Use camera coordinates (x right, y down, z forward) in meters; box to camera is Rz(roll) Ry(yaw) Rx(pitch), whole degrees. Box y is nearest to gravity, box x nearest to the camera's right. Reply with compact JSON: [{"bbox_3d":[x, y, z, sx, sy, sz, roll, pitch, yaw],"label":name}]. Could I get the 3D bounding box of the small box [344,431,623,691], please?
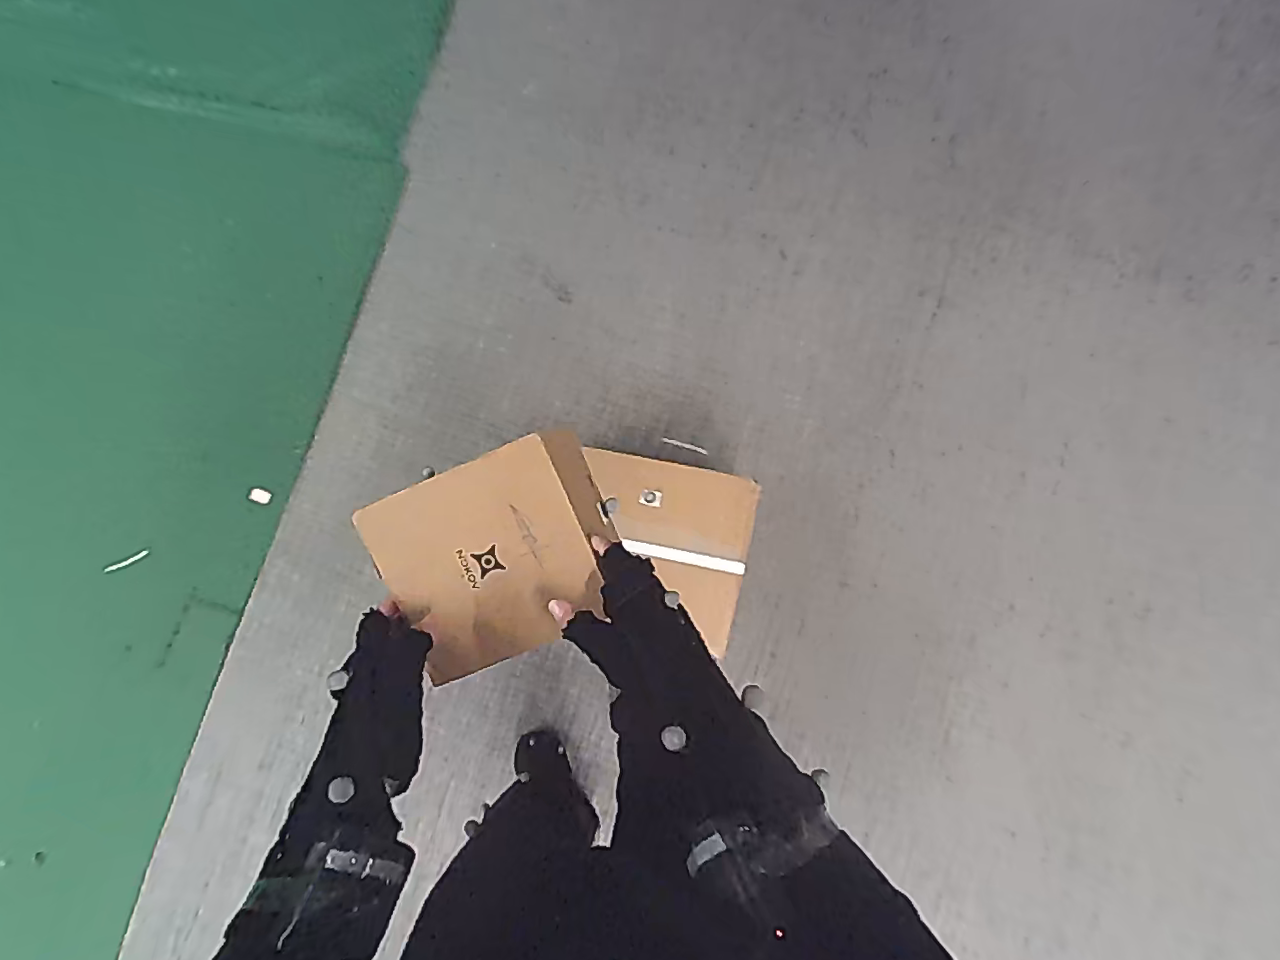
[{"bbox_3d":[-0.128,0.062,0.517,0.179,0.176,0.168,-24,96,4],"label":"small box"}]
